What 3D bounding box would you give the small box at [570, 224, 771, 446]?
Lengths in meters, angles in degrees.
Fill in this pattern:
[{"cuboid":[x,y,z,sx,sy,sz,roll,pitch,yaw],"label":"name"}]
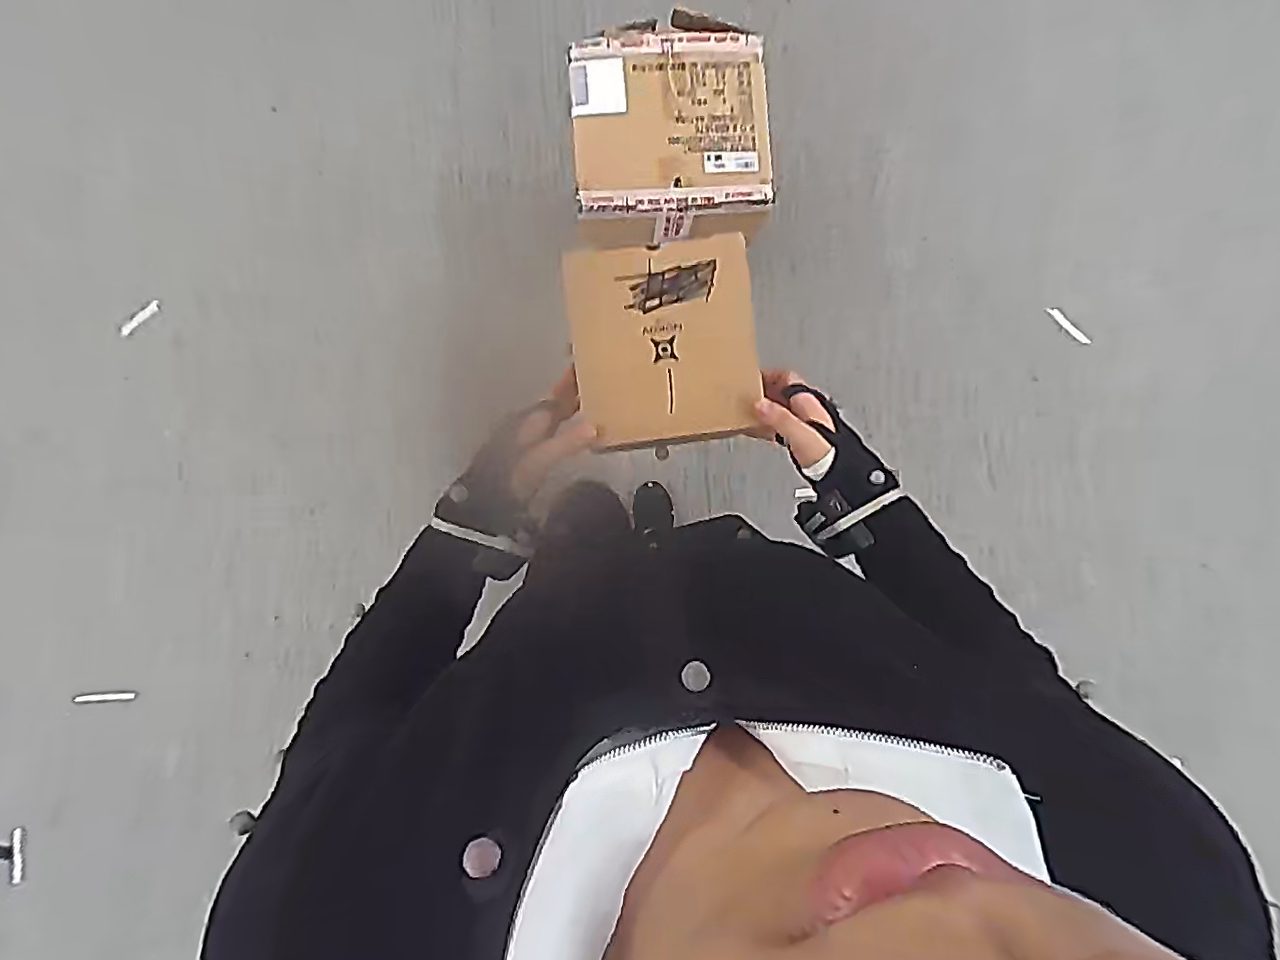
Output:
[{"cuboid":[0.024,-0.134,0.559,0.168,0.176,0.179,-8,92,-1],"label":"small box"}]
